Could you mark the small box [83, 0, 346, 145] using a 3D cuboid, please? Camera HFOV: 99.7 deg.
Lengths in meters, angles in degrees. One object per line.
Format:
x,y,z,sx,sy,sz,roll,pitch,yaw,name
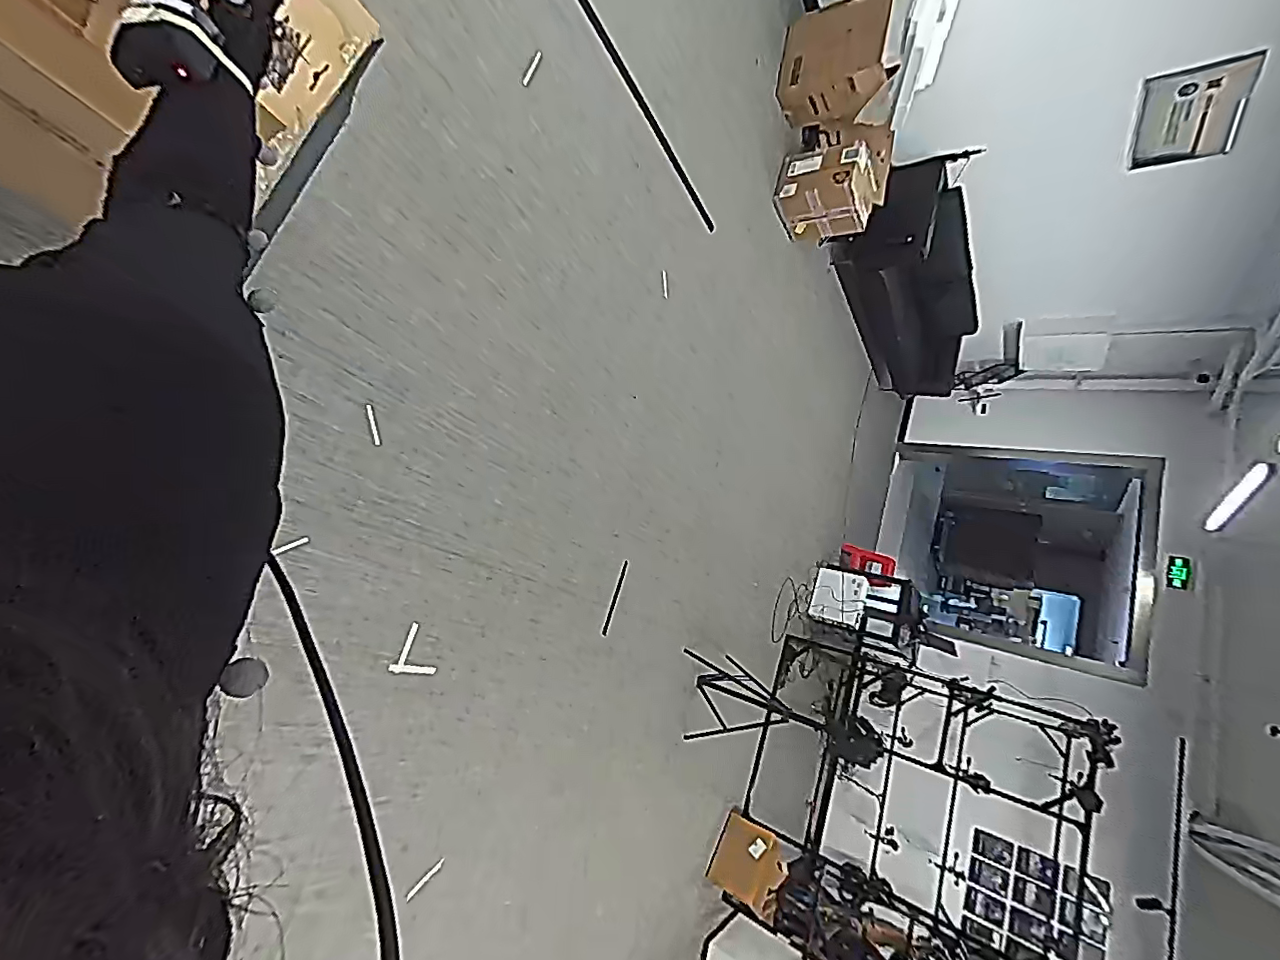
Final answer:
-0.508,-0.543,0.653,0.179,0.176,0.168,38,66,-47,small box
